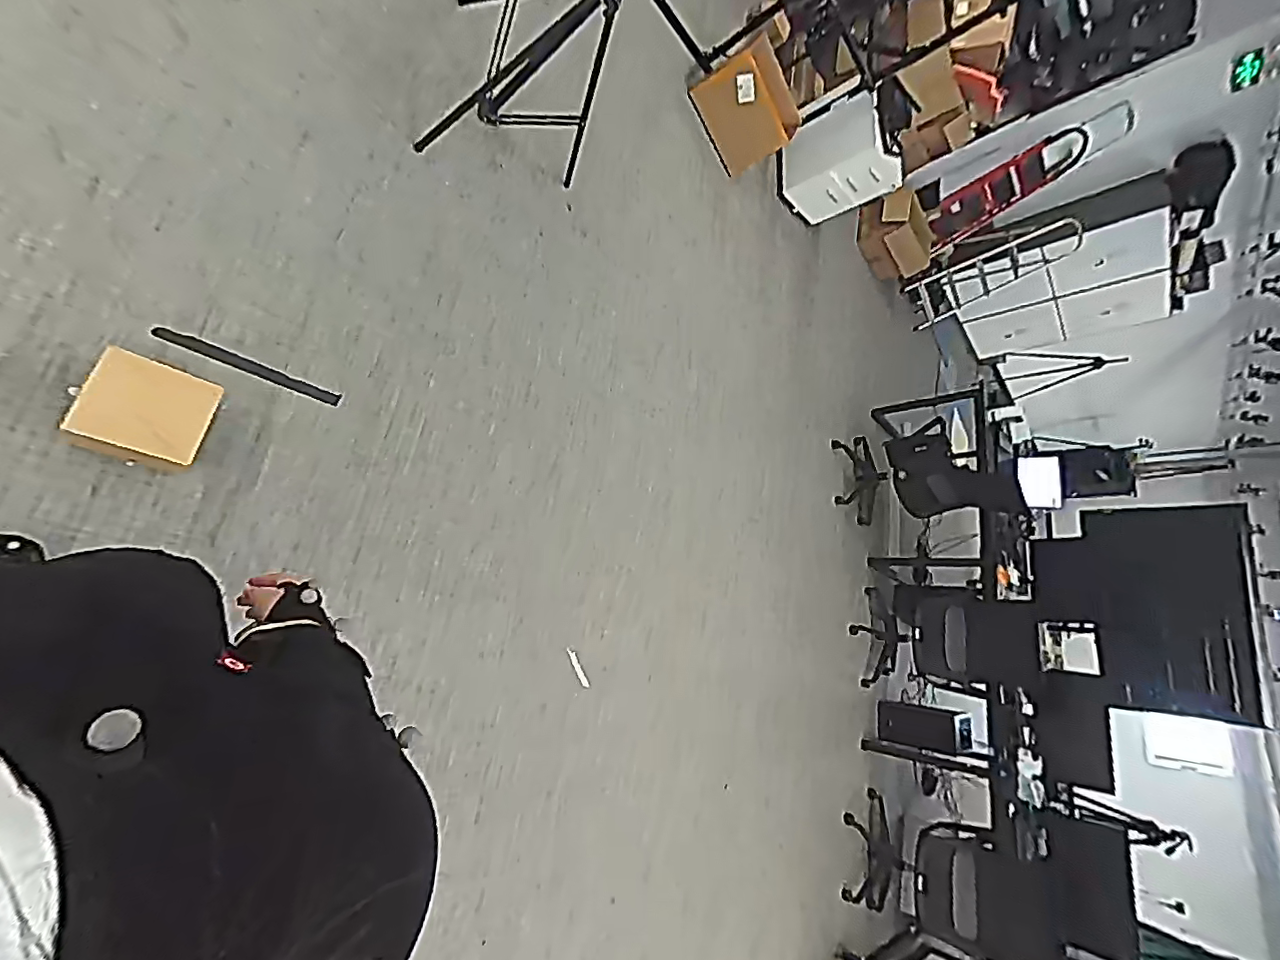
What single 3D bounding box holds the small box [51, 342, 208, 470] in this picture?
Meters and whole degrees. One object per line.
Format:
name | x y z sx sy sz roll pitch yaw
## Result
small box | -0.944 -0.129 1.008 0.179 0.176 0.168 28 64 -43
